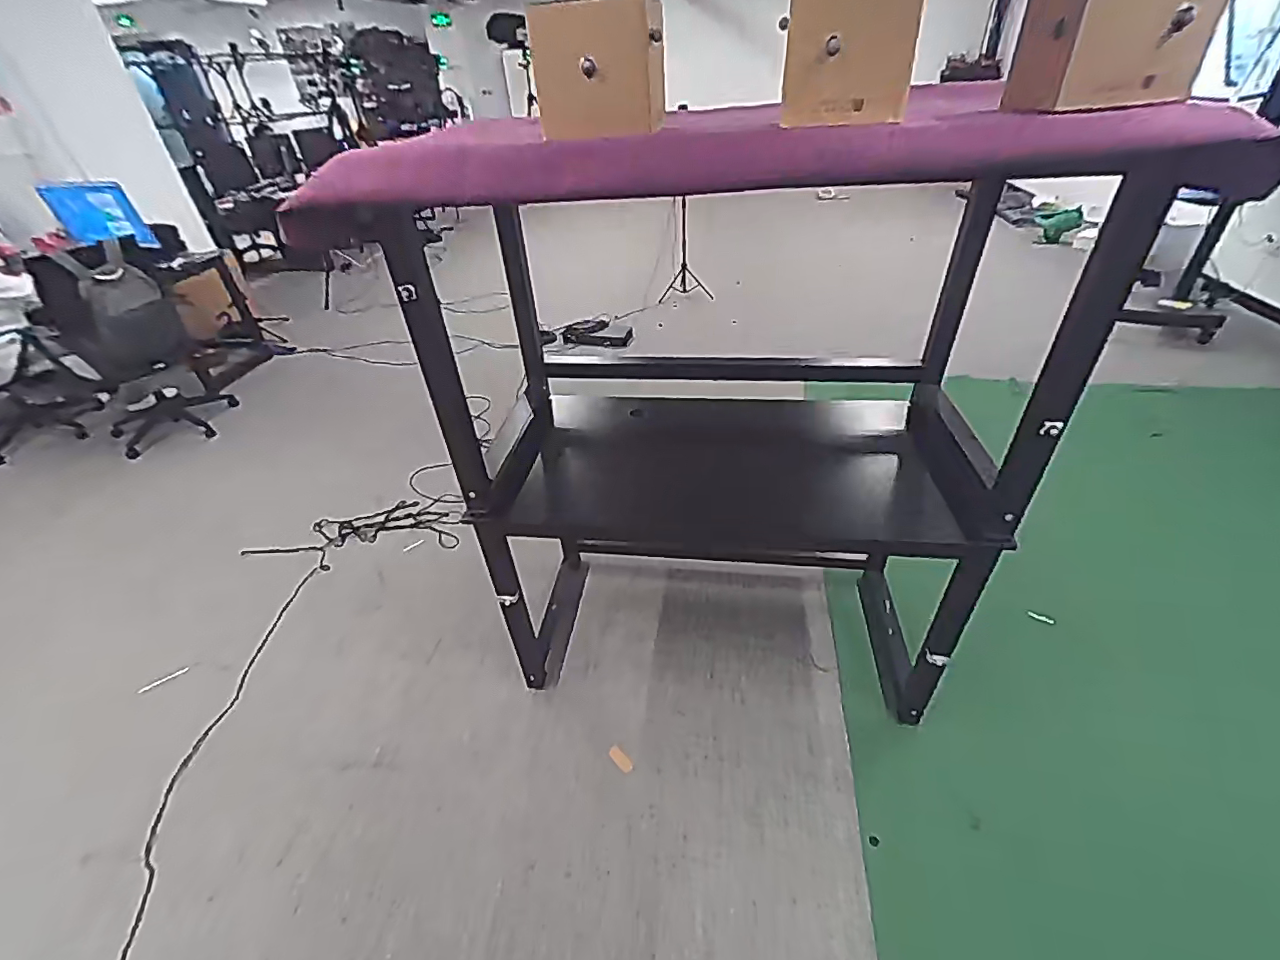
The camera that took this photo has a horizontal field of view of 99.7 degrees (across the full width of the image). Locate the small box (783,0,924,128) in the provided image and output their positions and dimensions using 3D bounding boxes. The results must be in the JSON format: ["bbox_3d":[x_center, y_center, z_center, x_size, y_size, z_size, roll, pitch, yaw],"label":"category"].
[{"bbox_3d":[0.301,-0.615,0.783,0.168,0.176,0.179,6,36,13],"label":"small box"}]

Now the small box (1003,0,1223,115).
[{"bbox_3d":[0.640,-0.607,0.739,0.168,0.176,0.179,1,35,7],"label":"small box"}]
